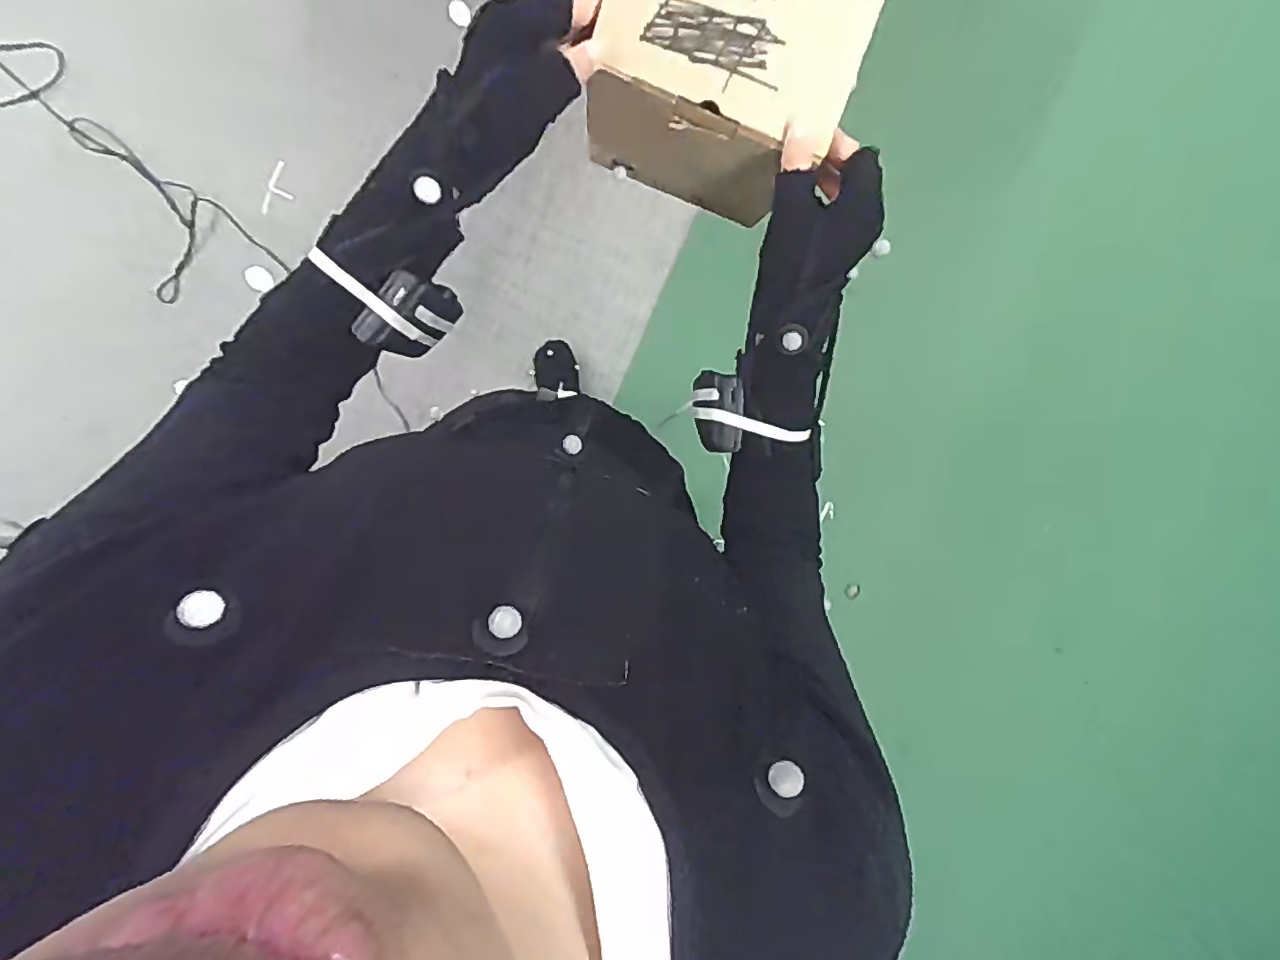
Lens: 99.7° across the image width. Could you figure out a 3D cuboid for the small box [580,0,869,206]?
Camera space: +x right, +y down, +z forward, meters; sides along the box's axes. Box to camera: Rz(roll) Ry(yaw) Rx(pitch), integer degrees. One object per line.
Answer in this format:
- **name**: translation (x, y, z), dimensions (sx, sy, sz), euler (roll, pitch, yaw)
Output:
- **small box**: translation (0.062, -0.340, 0.409), dimensions (0.168, 0.176, 0.179), euler (18, 99, -8)
